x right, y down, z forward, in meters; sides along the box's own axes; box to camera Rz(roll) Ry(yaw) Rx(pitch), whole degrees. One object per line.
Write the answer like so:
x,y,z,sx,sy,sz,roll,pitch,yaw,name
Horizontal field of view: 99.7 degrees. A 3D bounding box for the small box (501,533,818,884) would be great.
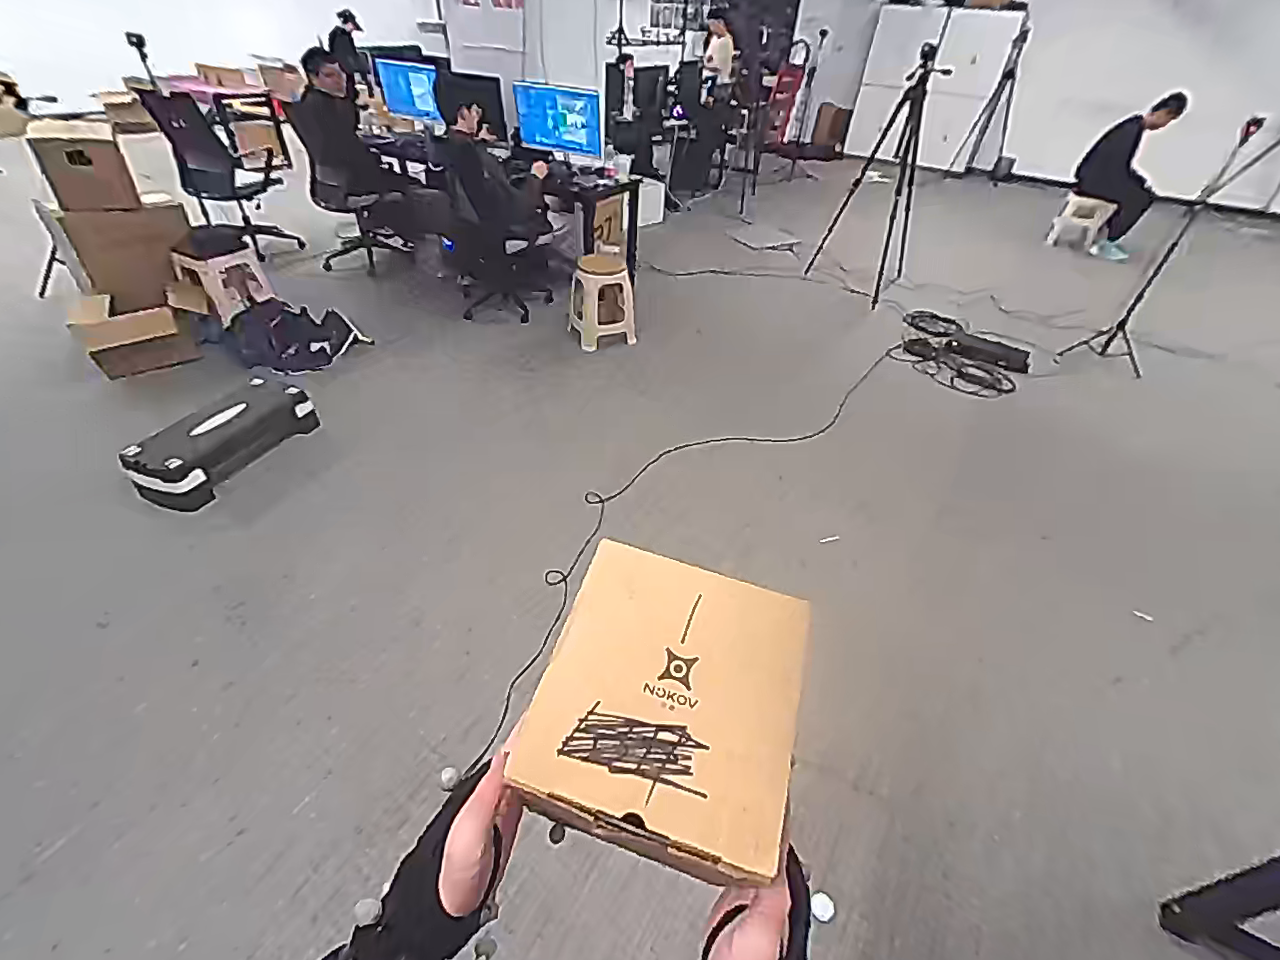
0.019,0.174,0.412,0.168,0.176,0.179,17,54,8,small box
